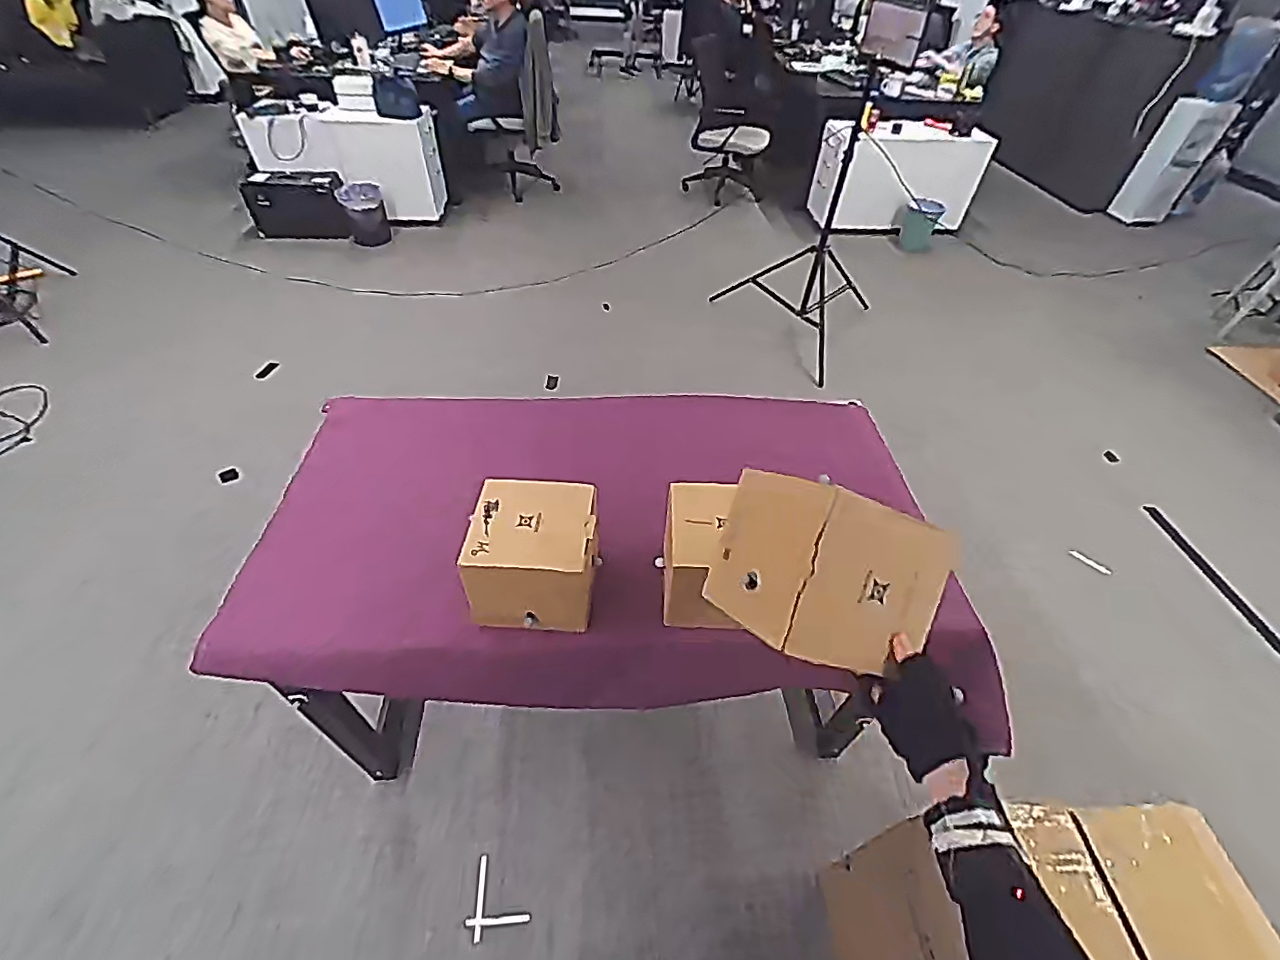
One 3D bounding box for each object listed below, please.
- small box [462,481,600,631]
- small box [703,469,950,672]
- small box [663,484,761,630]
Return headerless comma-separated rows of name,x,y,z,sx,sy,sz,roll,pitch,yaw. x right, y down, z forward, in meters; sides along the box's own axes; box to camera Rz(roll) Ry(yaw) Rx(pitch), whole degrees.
small box,-0.160,0.123,0.853,0.179,0.176,0.168,4,45,-1
small box,0.198,0.091,0.611,0.179,0.168,0.176,19,-1,-23
small box,0.131,0.126,0.865,0.179,0.176,0.168,2,45,0
